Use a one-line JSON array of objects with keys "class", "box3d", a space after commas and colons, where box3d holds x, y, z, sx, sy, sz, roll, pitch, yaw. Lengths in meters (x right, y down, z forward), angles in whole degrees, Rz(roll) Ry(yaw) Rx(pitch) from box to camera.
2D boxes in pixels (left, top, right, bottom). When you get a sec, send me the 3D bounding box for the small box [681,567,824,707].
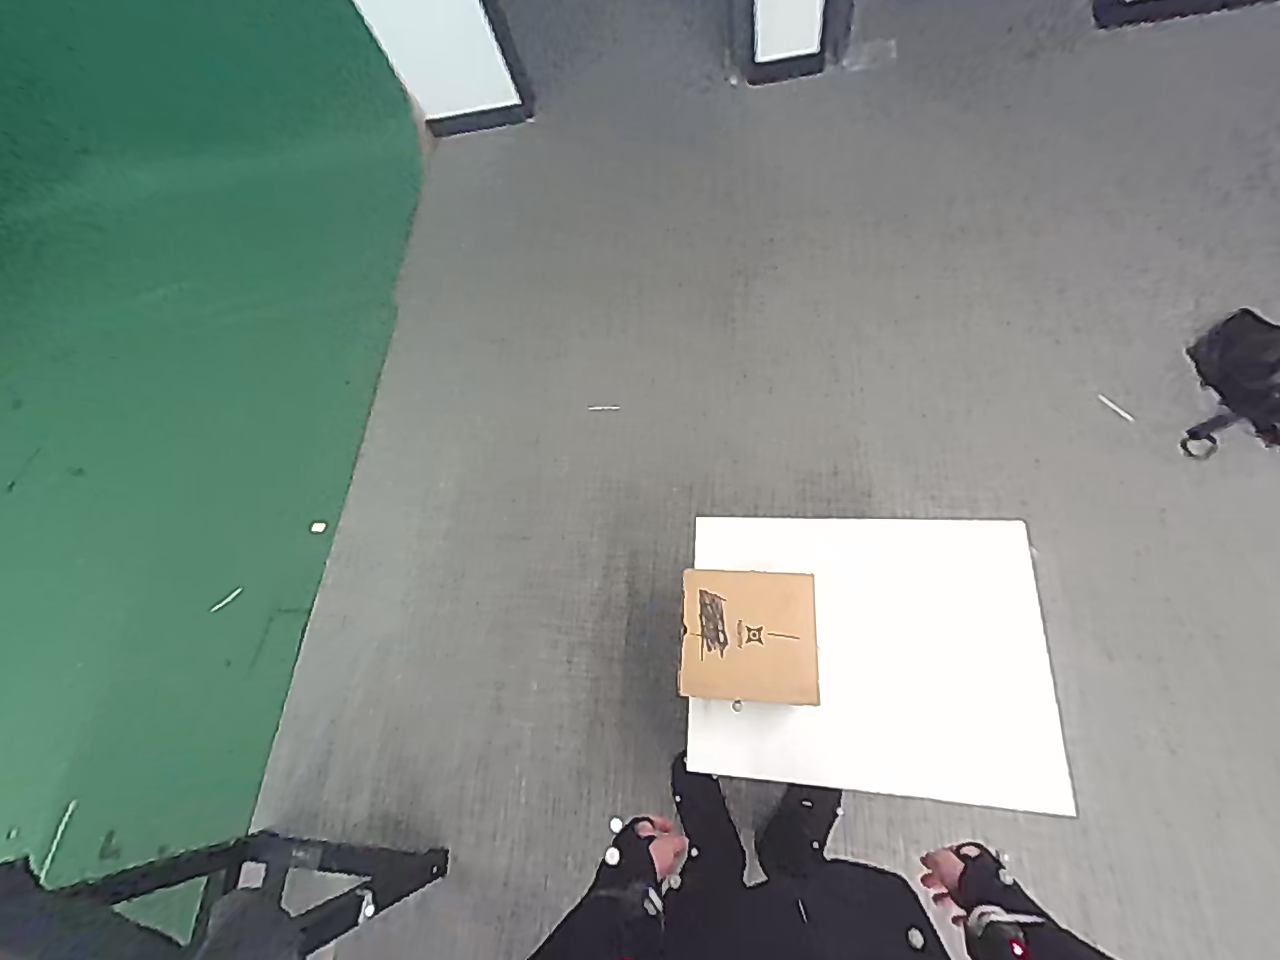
[{"class": "small box", "box3d": [0.156, 0.225, 0.766, 0.179, 0.176, 0.168, 2, 70, 9]}]
